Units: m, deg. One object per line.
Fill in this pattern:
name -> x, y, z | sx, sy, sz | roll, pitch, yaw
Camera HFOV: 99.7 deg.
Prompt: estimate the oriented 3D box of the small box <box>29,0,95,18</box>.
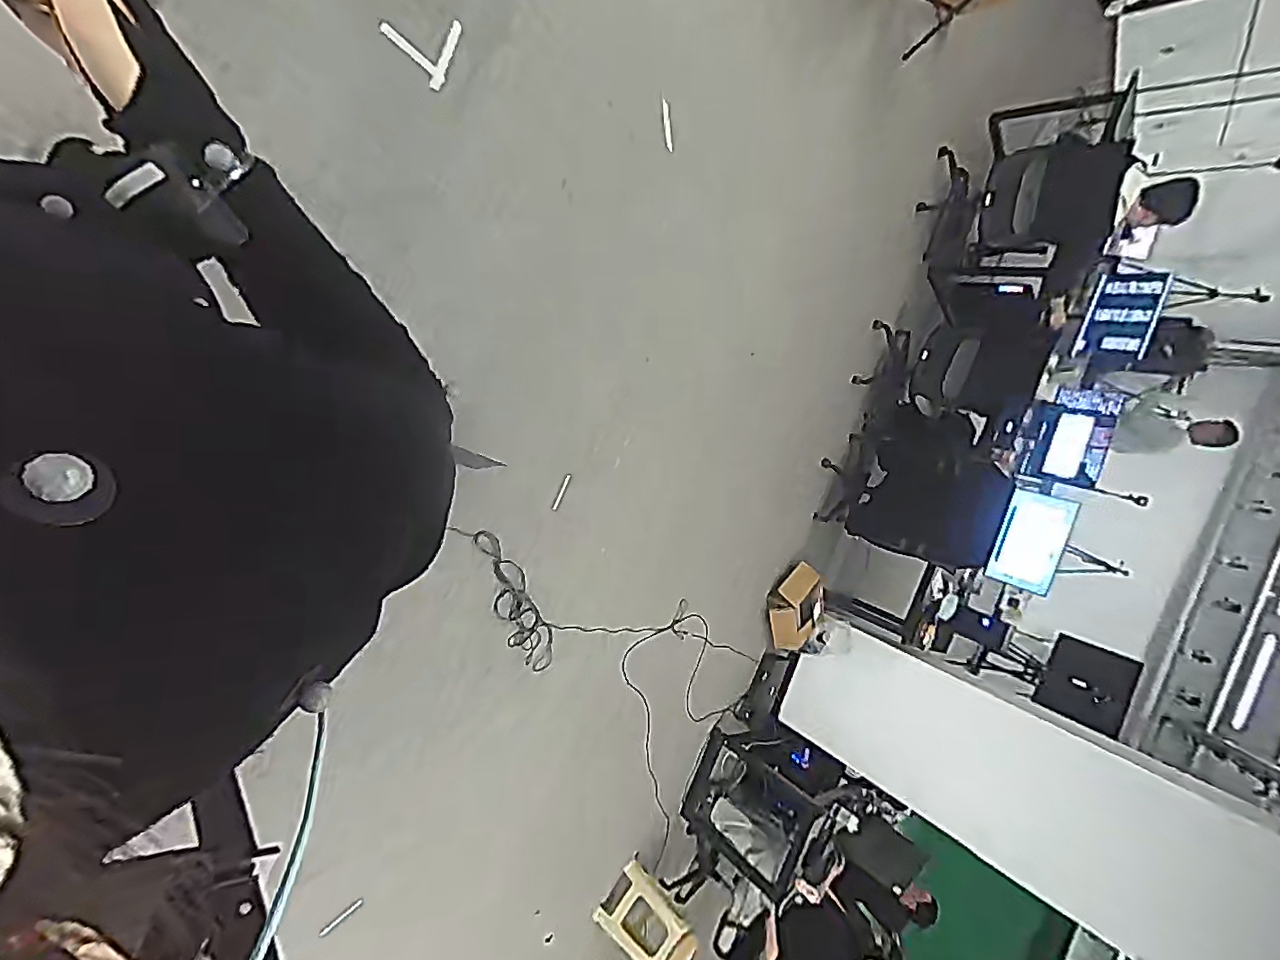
small box -> -0.366, -0.329, 0.208 | 0.179, 0.176, 0.168 | -20, 135, -55
